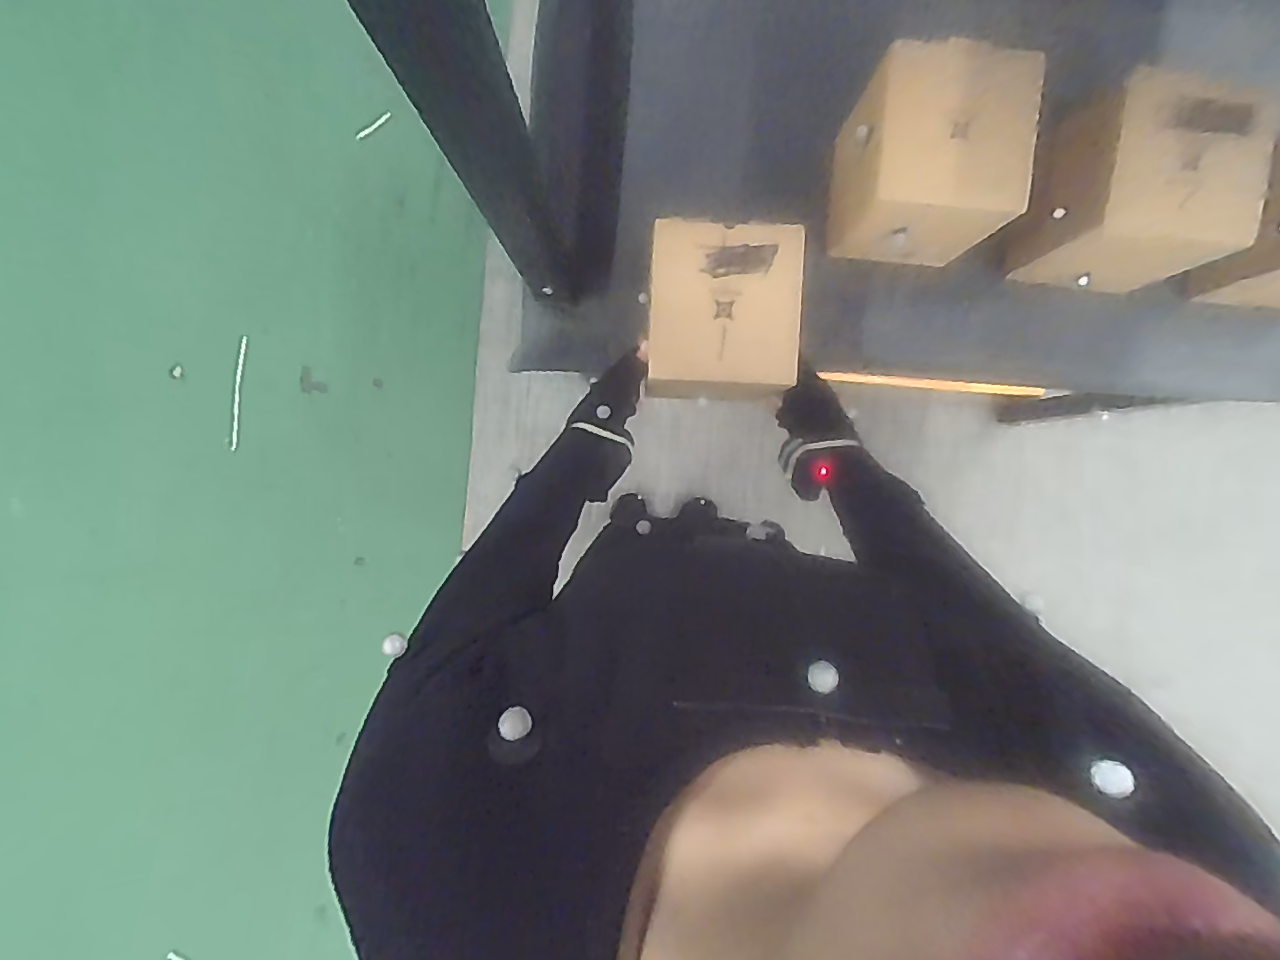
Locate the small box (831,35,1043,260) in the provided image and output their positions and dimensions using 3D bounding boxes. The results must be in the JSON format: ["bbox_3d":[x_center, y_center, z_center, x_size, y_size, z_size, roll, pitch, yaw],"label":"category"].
[{"bbox_3d":[0.348,-0.392,0.668,0.168,0.176,0.179,5,91,1],"label":"small box"}]

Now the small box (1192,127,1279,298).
[{"bbox_3d":[0.838,-0.333,0.659,0.168,0.176,0.179,4,90,0],"label":"small box"}]
